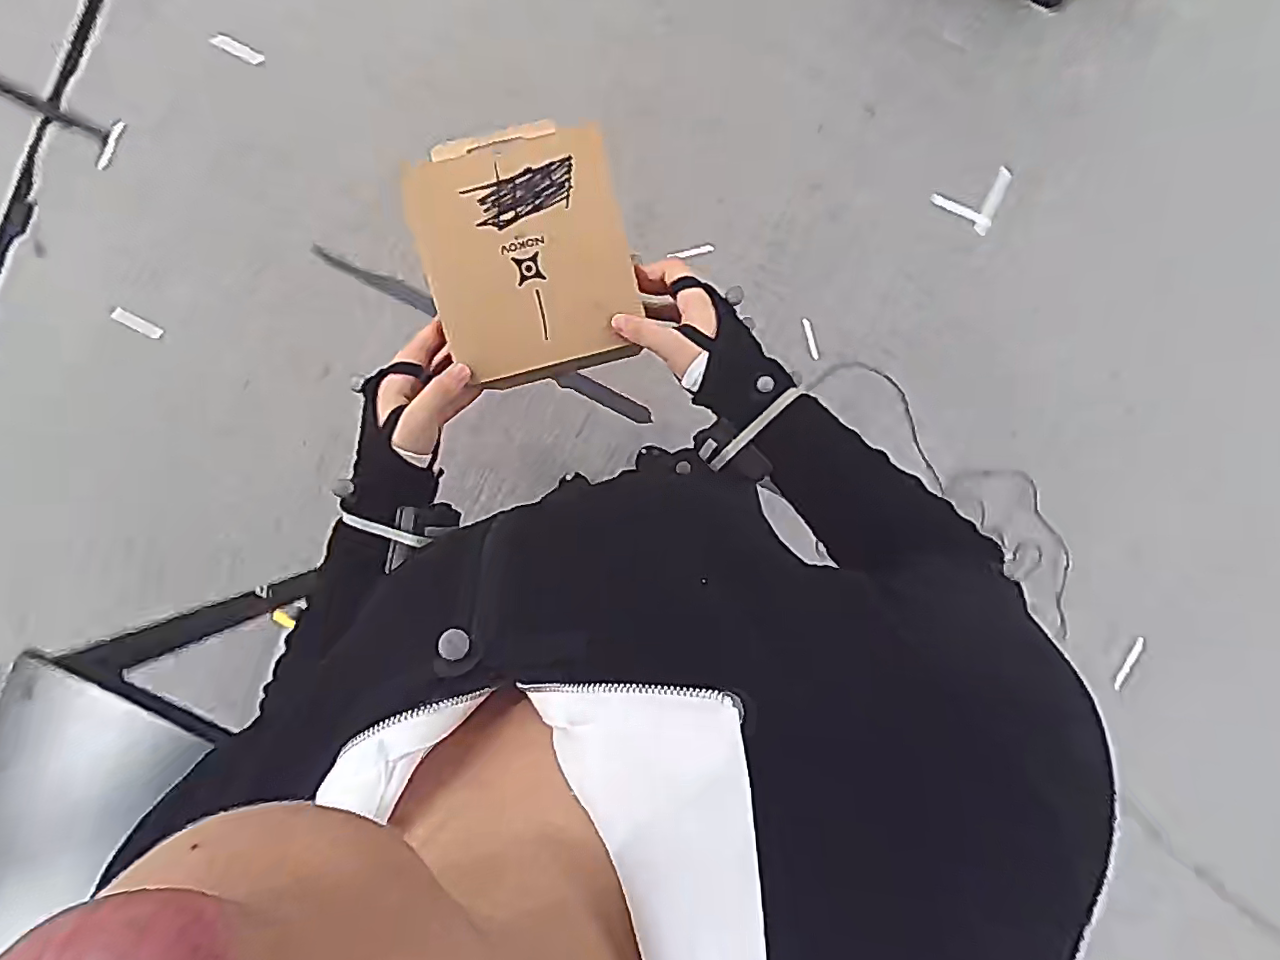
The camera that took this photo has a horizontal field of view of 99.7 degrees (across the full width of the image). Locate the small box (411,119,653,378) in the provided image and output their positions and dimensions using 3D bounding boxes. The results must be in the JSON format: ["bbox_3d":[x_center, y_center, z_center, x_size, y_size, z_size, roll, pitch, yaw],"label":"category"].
[{"bbox_3d":[-0.090,-0.201,0.521,0.168,0.176,0.179,-13,101,-1],"label":"small box"}]
